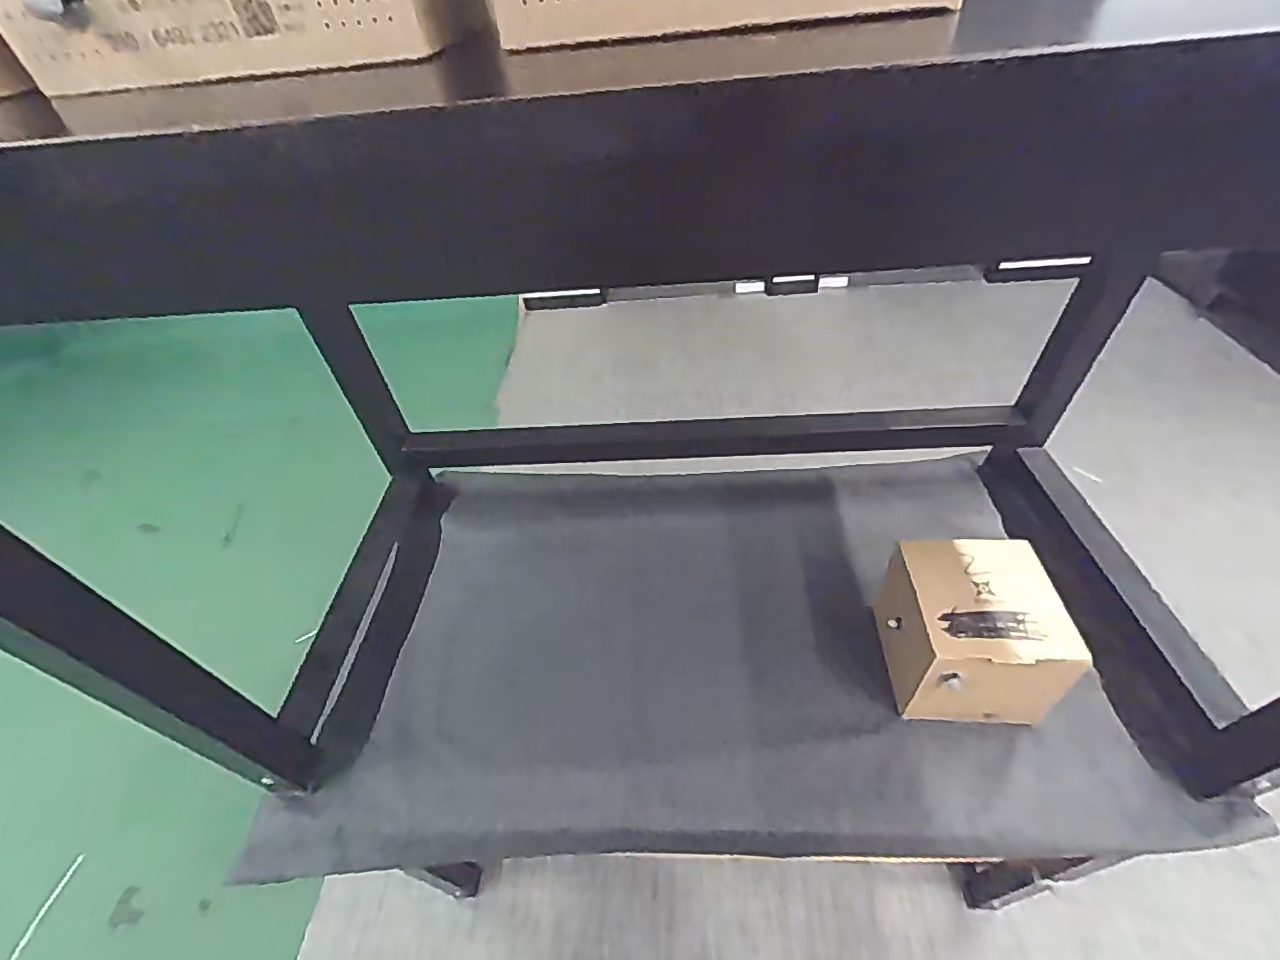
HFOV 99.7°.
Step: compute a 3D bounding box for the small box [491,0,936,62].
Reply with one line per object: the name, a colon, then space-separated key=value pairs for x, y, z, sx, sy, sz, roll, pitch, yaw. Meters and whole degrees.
small box: x=0.026 y=-0.281 z=0.209 sx=0.179 sy=0.176 sz=0.168 roll=1 pitch=46 yaw=7
